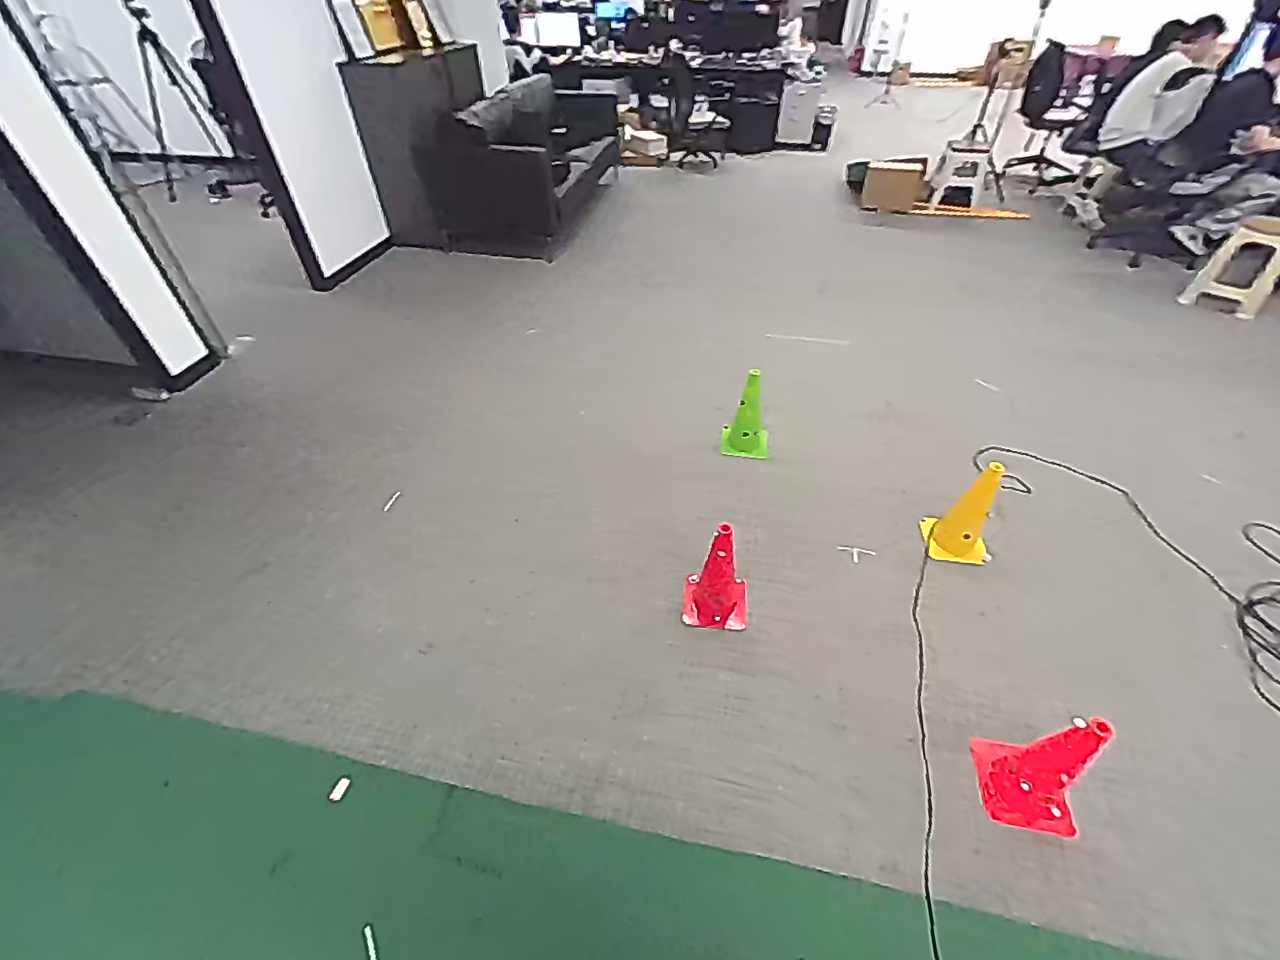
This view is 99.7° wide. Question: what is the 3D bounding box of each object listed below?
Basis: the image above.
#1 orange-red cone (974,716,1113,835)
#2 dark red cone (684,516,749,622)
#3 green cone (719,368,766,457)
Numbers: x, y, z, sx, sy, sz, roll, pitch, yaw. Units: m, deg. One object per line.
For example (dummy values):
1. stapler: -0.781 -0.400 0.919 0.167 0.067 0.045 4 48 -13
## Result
1. orange-red cone: 0.953 0.630 1.233 0.198 0.360 0.199 9 43 9
2. dark red cone: 0.244 0.249 1.621 0.202 0.394 0.201 4 45 5
3. green cone: 0.450 -0.296 2.235 0.202 0.368 0.200 8 44 7
